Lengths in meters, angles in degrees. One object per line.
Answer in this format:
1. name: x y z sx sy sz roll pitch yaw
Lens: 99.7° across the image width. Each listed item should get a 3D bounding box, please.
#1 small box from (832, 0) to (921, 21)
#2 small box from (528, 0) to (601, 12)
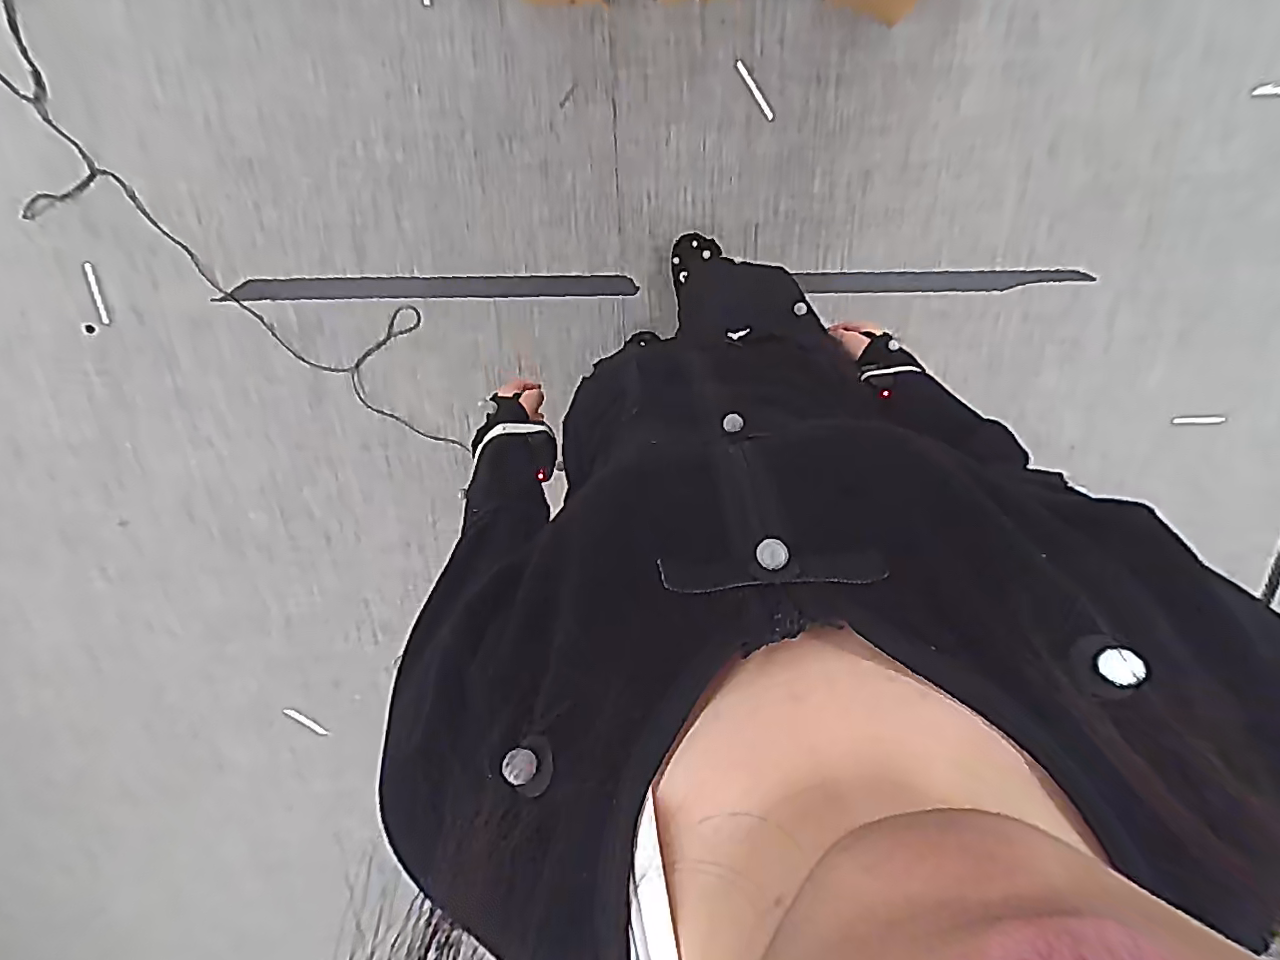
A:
1. small box: 0.514 -1.078 1.093 0.179 0.176 0.168 14 109 -6
2. small box: -0.158 -1.070 1.058 0.168 0.176 0.179 0 108 -3
